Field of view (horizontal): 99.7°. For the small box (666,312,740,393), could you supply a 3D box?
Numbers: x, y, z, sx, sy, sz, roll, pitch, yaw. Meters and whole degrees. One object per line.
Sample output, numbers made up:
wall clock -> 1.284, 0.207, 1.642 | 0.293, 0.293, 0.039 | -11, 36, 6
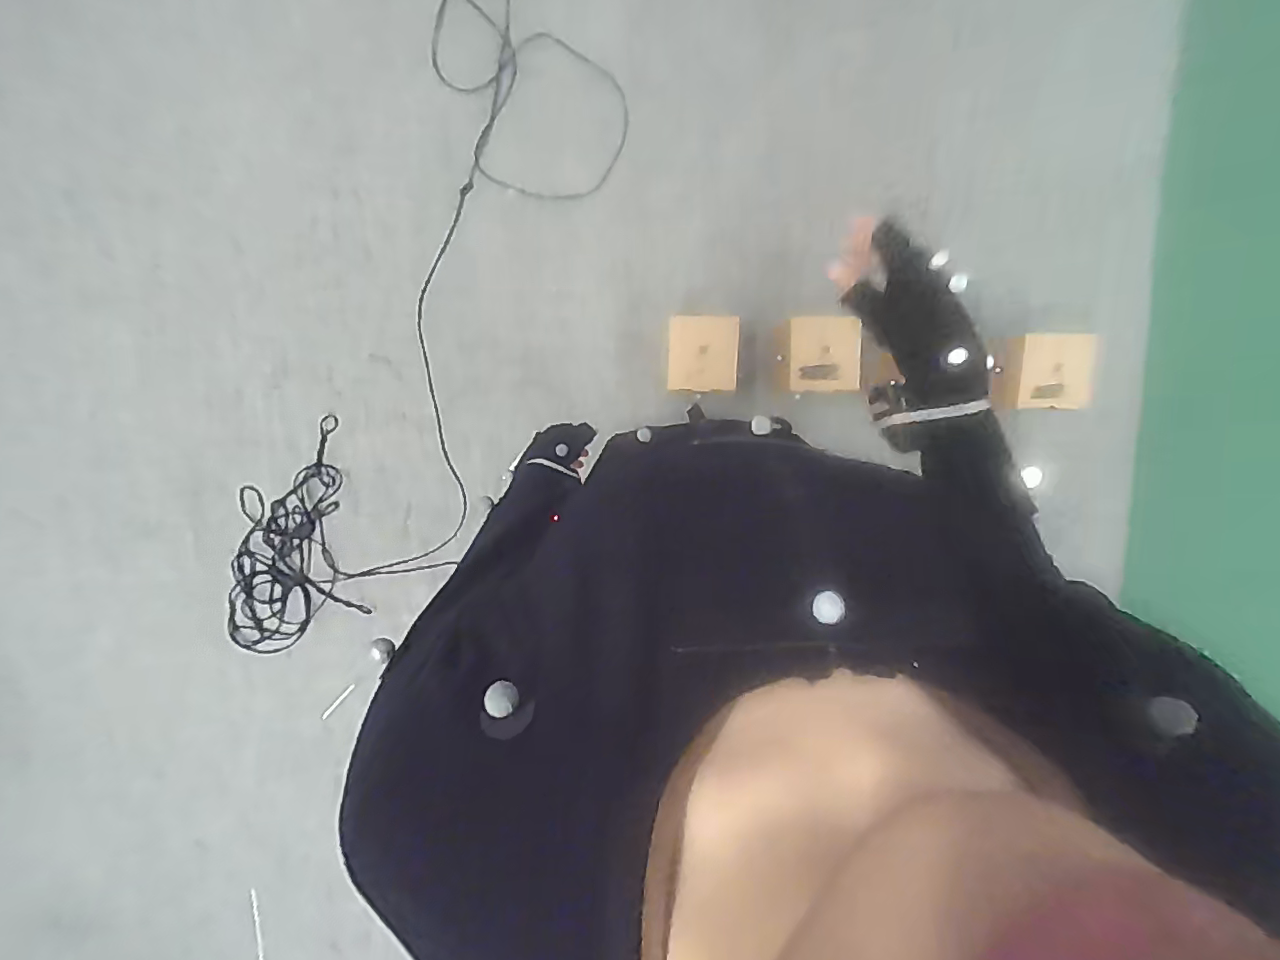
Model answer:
small box -> 0.151, -0.314, 1.353 | 0.168, 0.176, 0.179 | 2, 97, 2

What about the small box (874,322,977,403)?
small box -> 0.699, -0.285, 1.341 | 0.168, 0.176, 0.179 | 3, 97, 1

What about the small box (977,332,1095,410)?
small box -> 0.967, -0.263, 1.336 | 0.168, 0.176, 0.179 | 2, 96, 1
